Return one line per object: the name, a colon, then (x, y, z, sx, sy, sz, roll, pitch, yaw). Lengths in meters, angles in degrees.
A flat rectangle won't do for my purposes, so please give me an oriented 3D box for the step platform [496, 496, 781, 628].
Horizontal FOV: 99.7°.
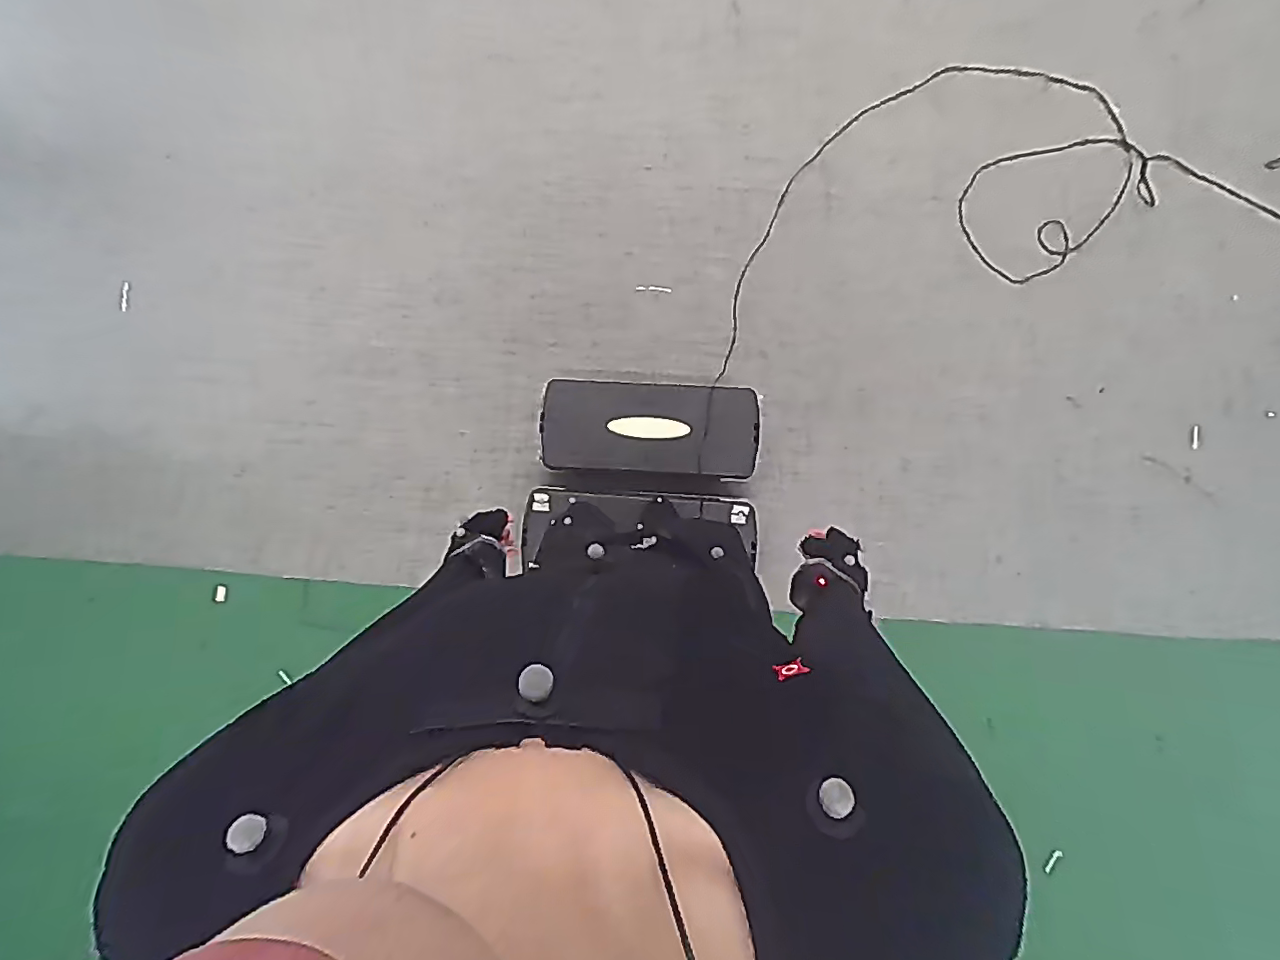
step platform: (-0.003, 0.200, 1.386, 0.684, 0.204, 0.286, 3, 87, 1)
